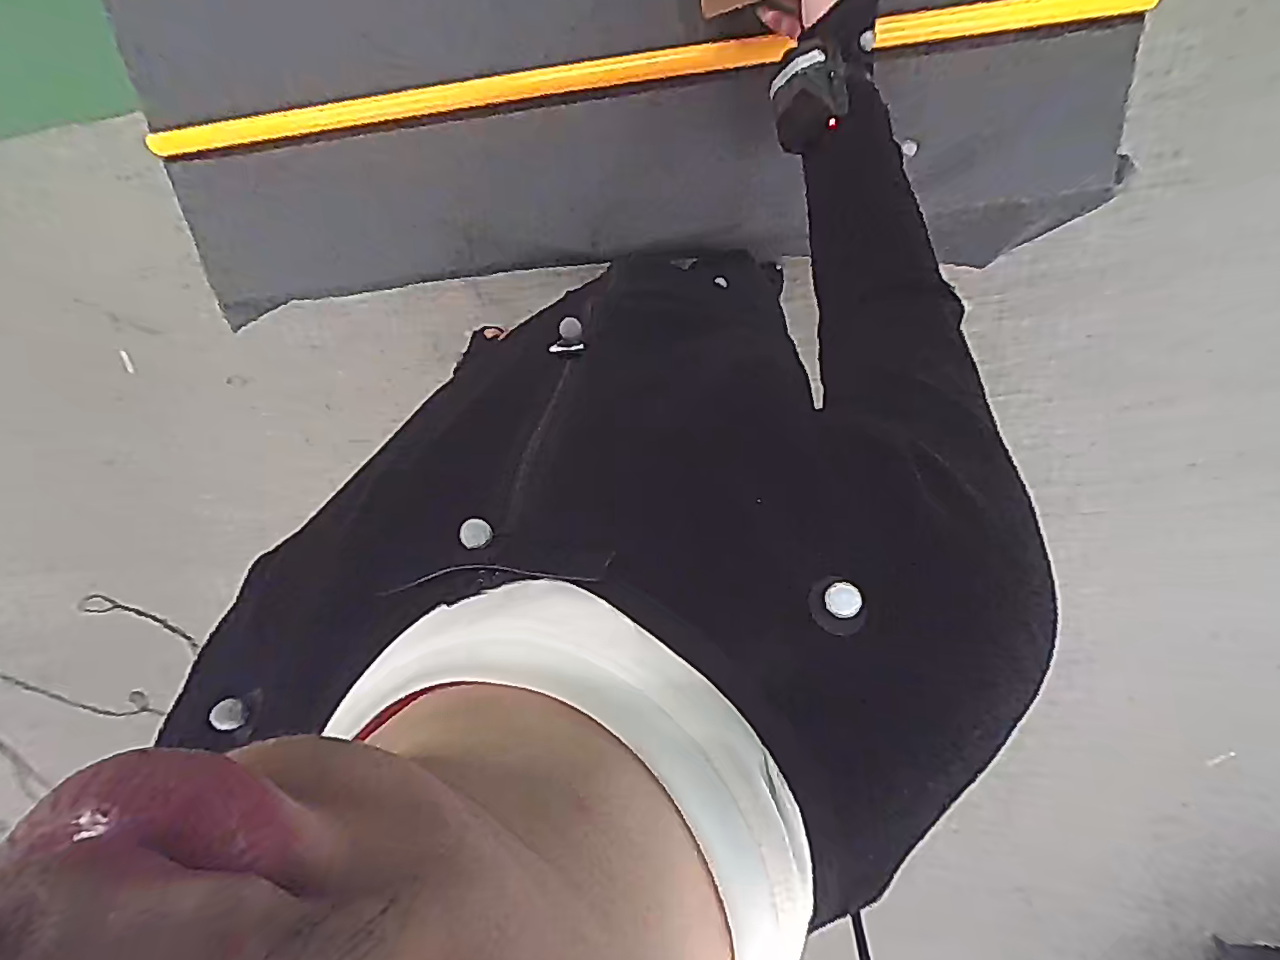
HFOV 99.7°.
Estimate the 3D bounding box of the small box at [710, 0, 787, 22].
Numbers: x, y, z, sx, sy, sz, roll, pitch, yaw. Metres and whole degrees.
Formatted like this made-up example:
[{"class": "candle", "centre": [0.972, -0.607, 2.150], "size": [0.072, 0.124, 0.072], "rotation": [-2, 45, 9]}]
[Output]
[{"class": "small box", "centre": [0.127, -0.554, 0.486], "size": [0.168, 0.176, 0.179], "rotation": [-12, 117, 16]}]
